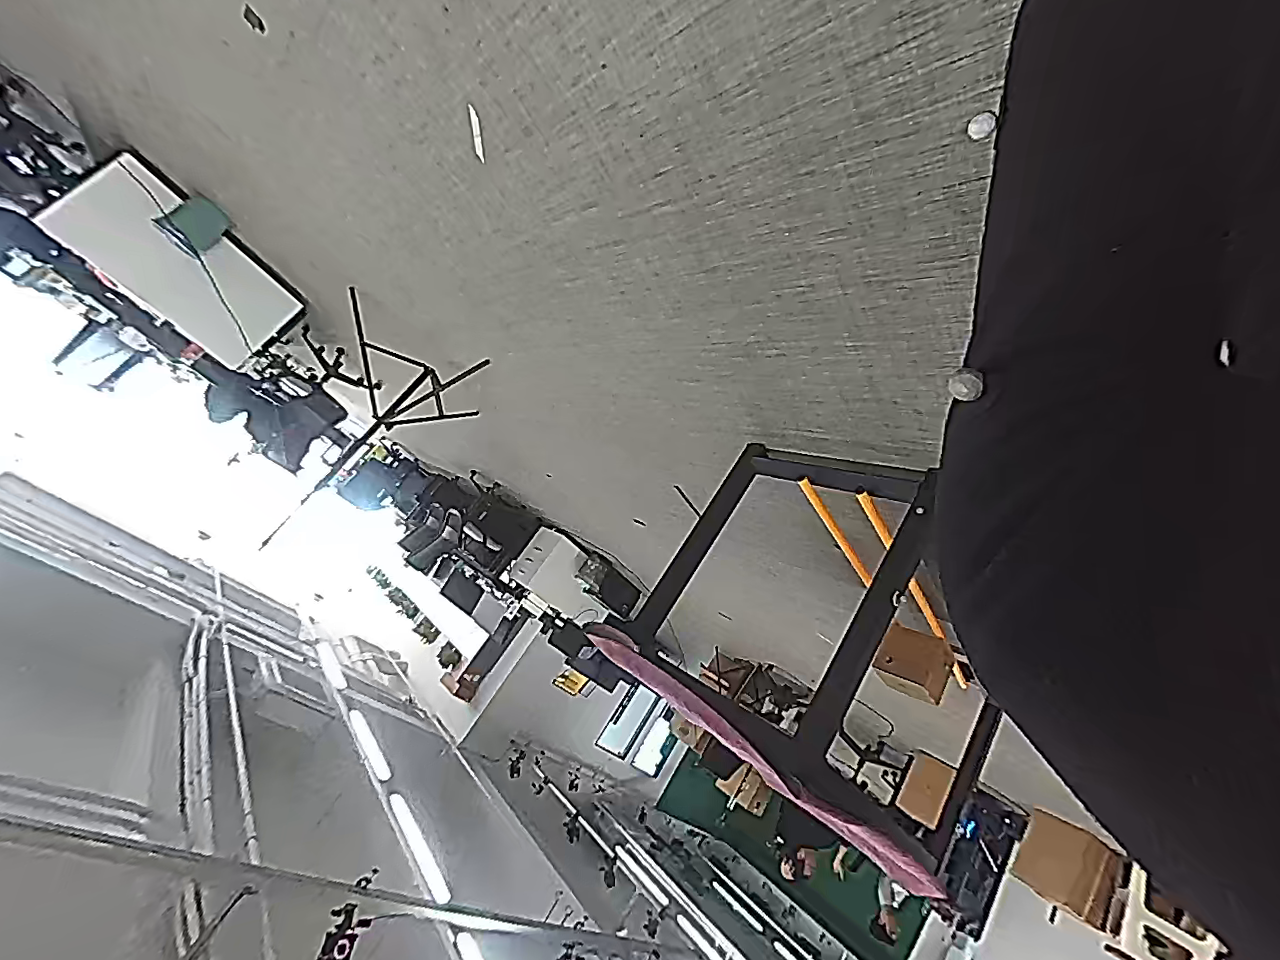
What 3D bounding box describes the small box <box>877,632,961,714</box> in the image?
[{"bbox_3d":[0.914,0.623,1.769,0.179,0.176,0.168,9,149,51],"label":"small box"}]
